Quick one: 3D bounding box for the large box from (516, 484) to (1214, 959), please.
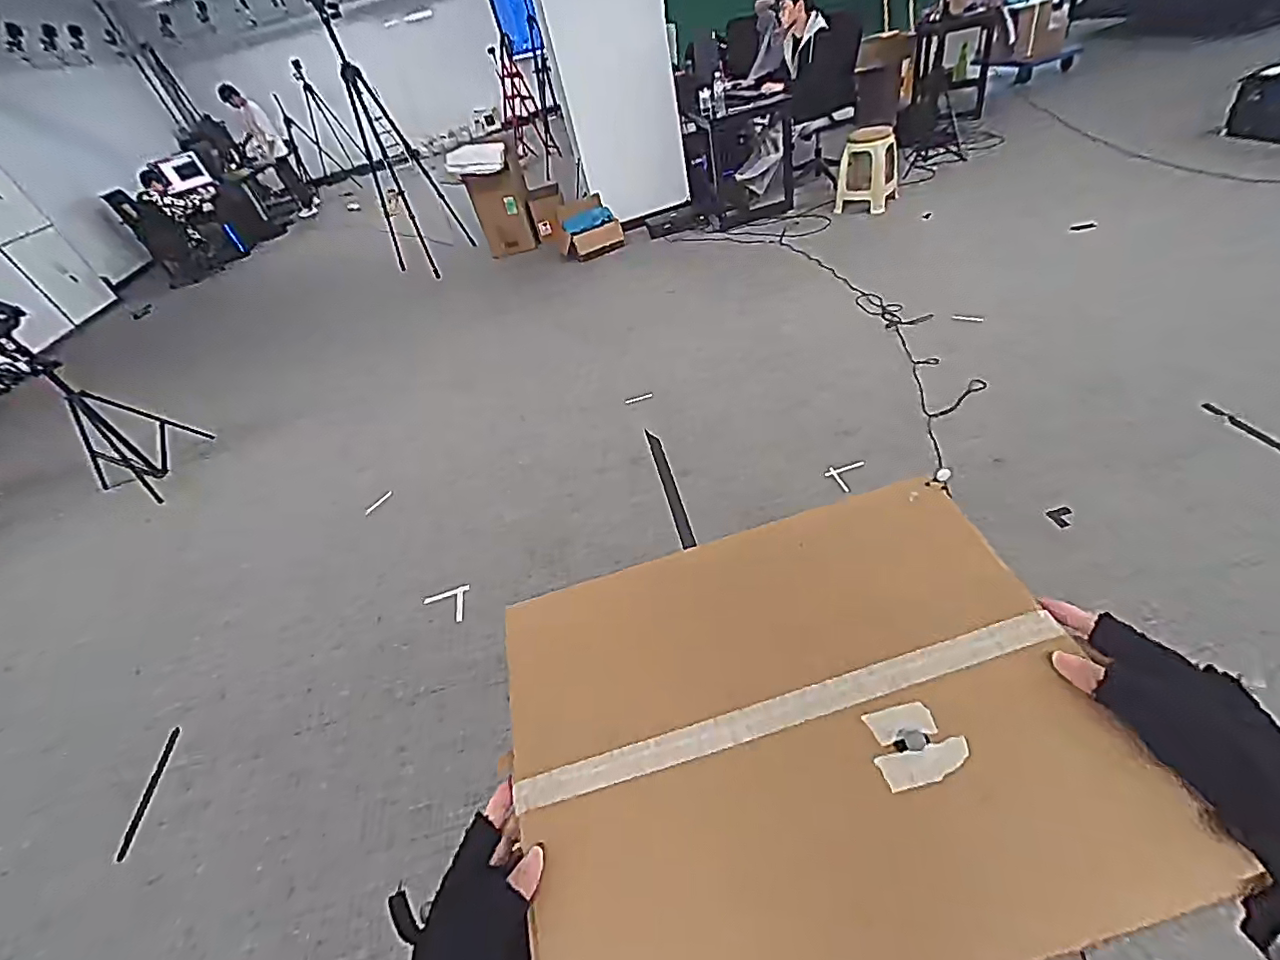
[{"bbox_3d":[0.136,0.266,0.514,0.408,0.320,0.320,-18,49,-1],"label":"large box"}]
